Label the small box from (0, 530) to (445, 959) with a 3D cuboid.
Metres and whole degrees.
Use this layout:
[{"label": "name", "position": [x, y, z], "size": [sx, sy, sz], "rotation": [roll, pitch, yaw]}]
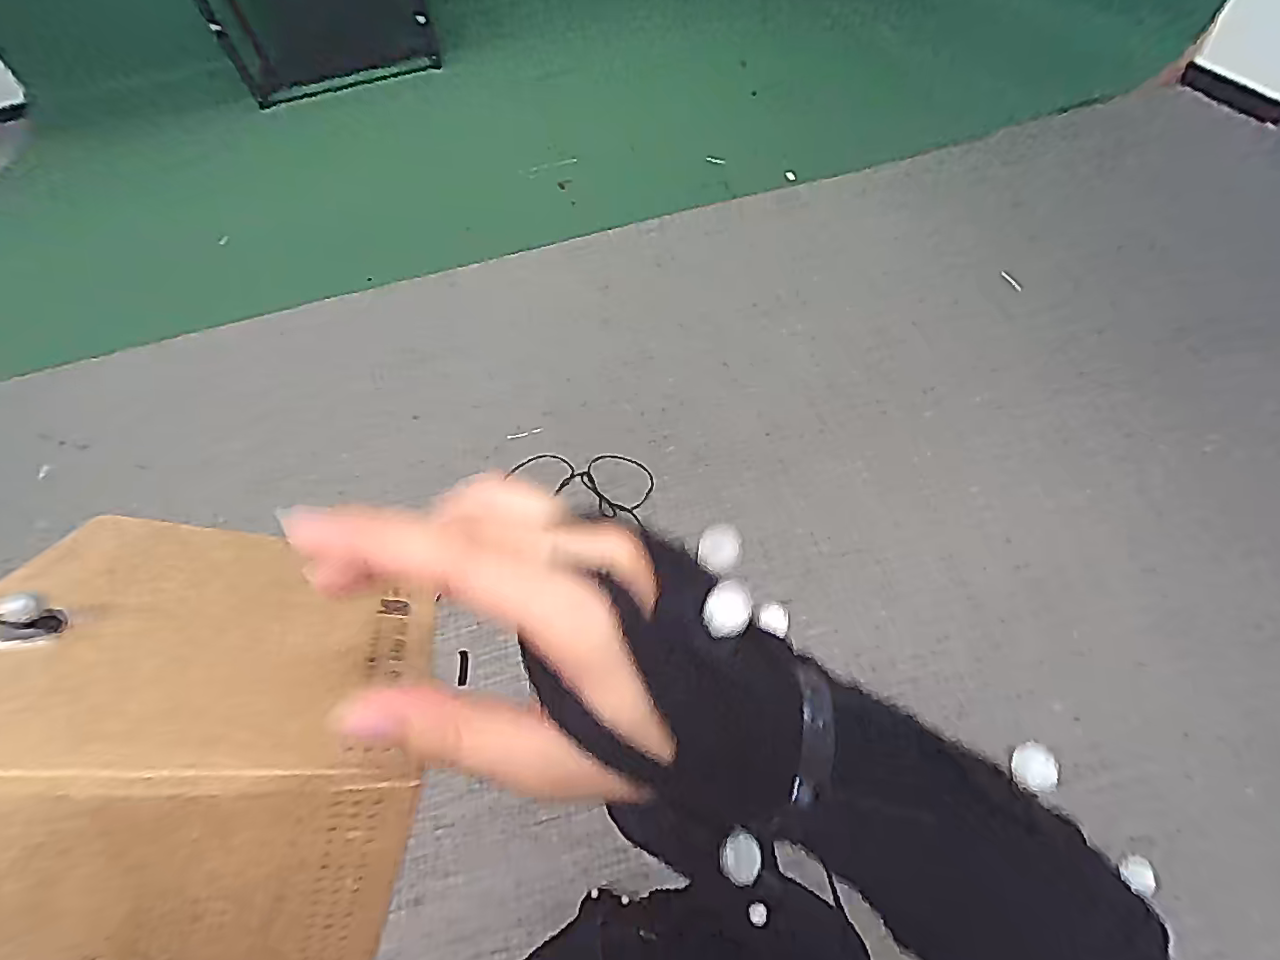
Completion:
[{"label": "small box", "position": [-0.200, 0.147, 0.262], "size": [0.176, 0.179, 0.168], "rotation": [11, 16, -22]}]
